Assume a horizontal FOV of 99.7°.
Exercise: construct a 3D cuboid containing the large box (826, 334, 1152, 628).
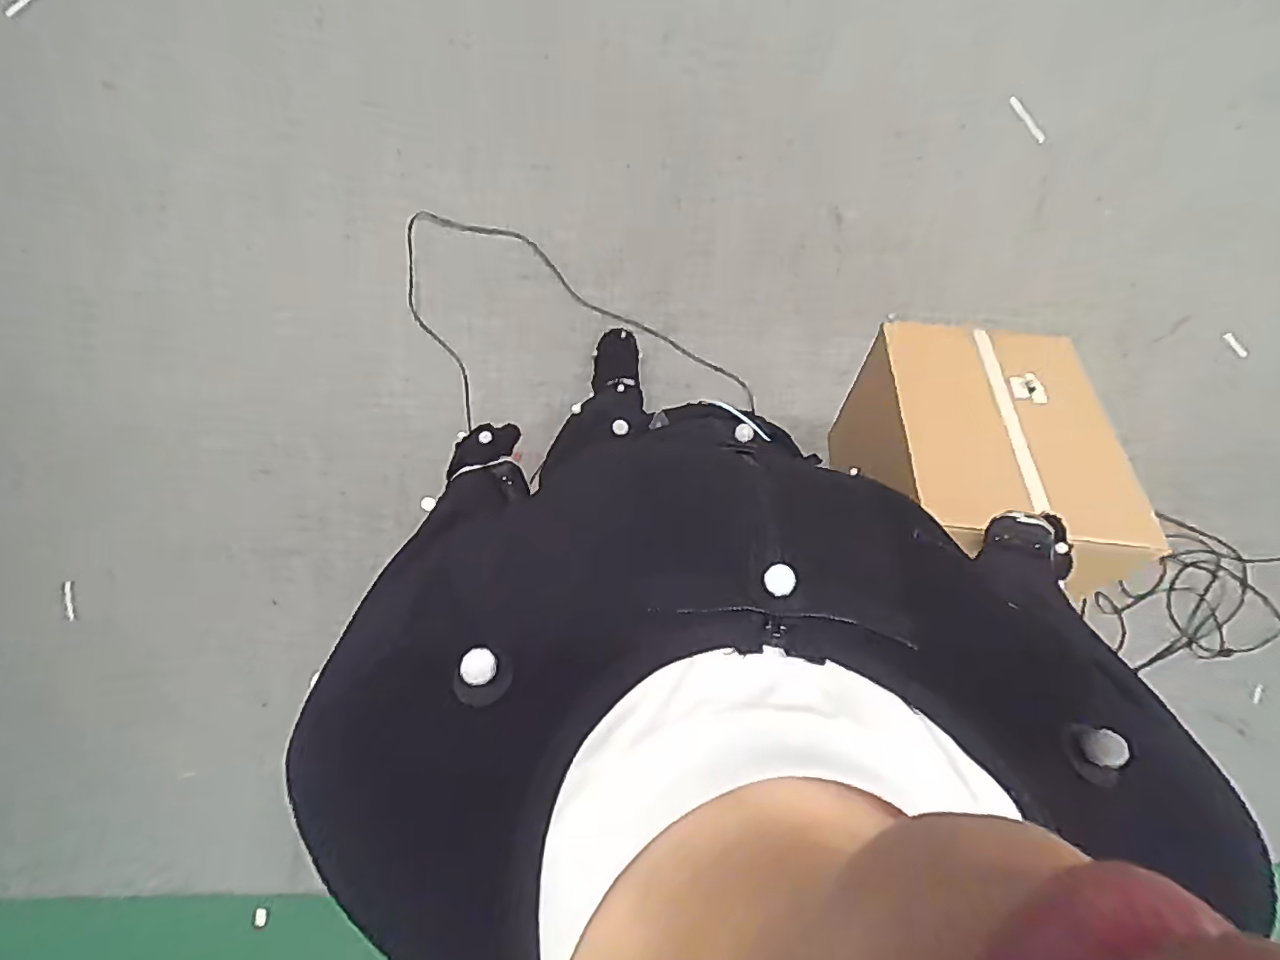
[{"bbox_3d":[0.538,0.005,0.946,0.320,0.320,0.408,7,54,2],"label":"large box"}]
